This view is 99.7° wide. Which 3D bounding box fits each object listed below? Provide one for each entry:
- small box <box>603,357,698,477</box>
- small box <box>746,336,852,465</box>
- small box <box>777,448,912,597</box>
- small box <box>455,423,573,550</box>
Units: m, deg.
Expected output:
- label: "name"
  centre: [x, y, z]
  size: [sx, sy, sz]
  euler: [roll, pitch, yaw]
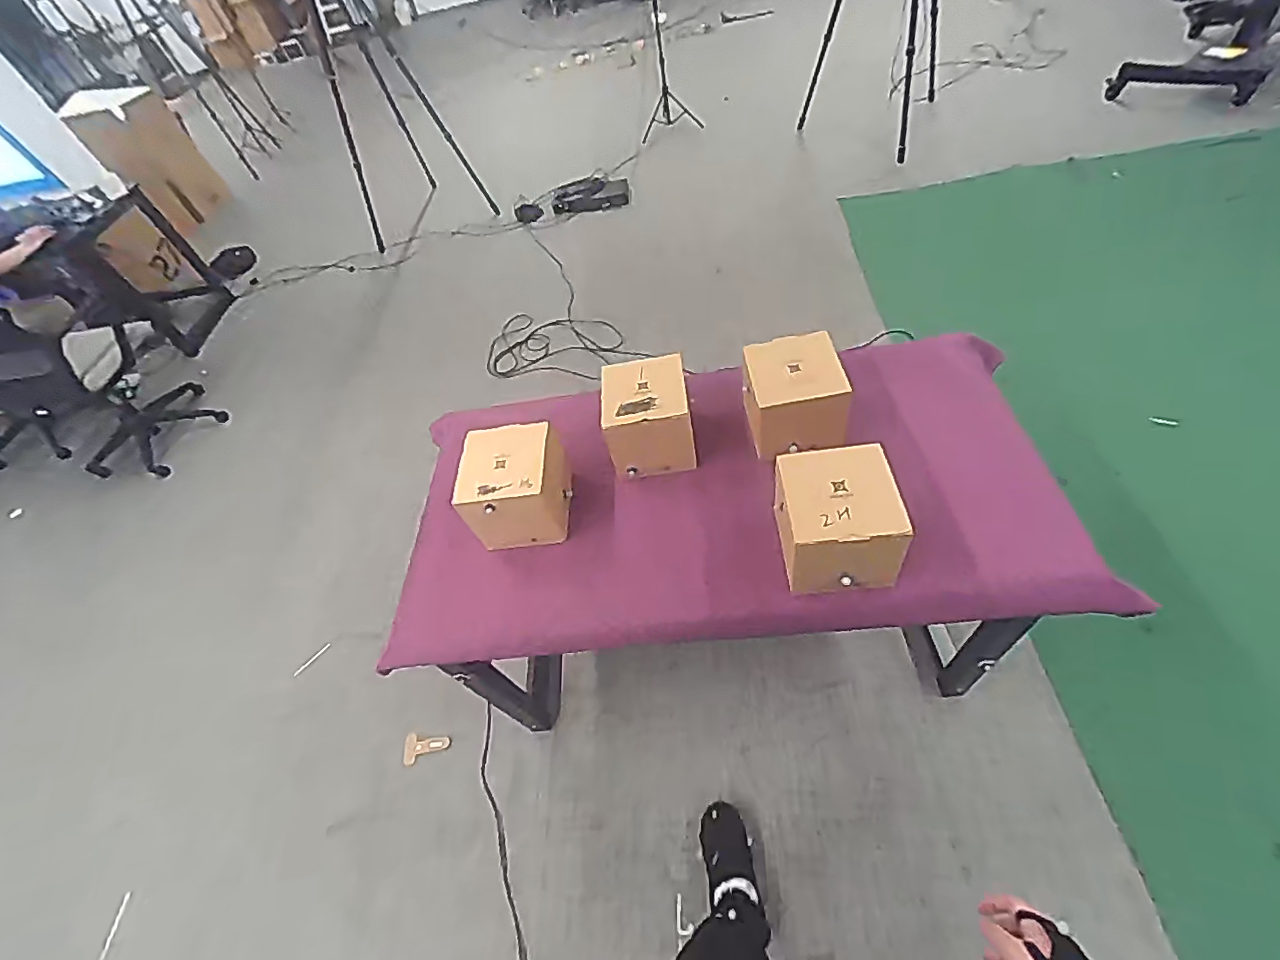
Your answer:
- label: "small box"
  centre: [0.024, -0.121, 1.109]
  size: [0.168, 0.176, 0.179]
  euler: [-8, 51, 7]
- label: "small box"
  centre: [0.304, -0.154, 1.073]
  size: [0.168, 0.176, 0.179]
  euler: [-9, 53, 7]
- label: "small box"
  centre: [0.321, 0.073, 0.890]
  size: [0.168, 0.176, 0.179]
  euler: [-6, 51, 9]
- label: "small box"
  centre: [-0.234, 0.015, 1.059]
  size: [0.168, 0.176, 0.179]
  euler: [-7, 51, 9]
